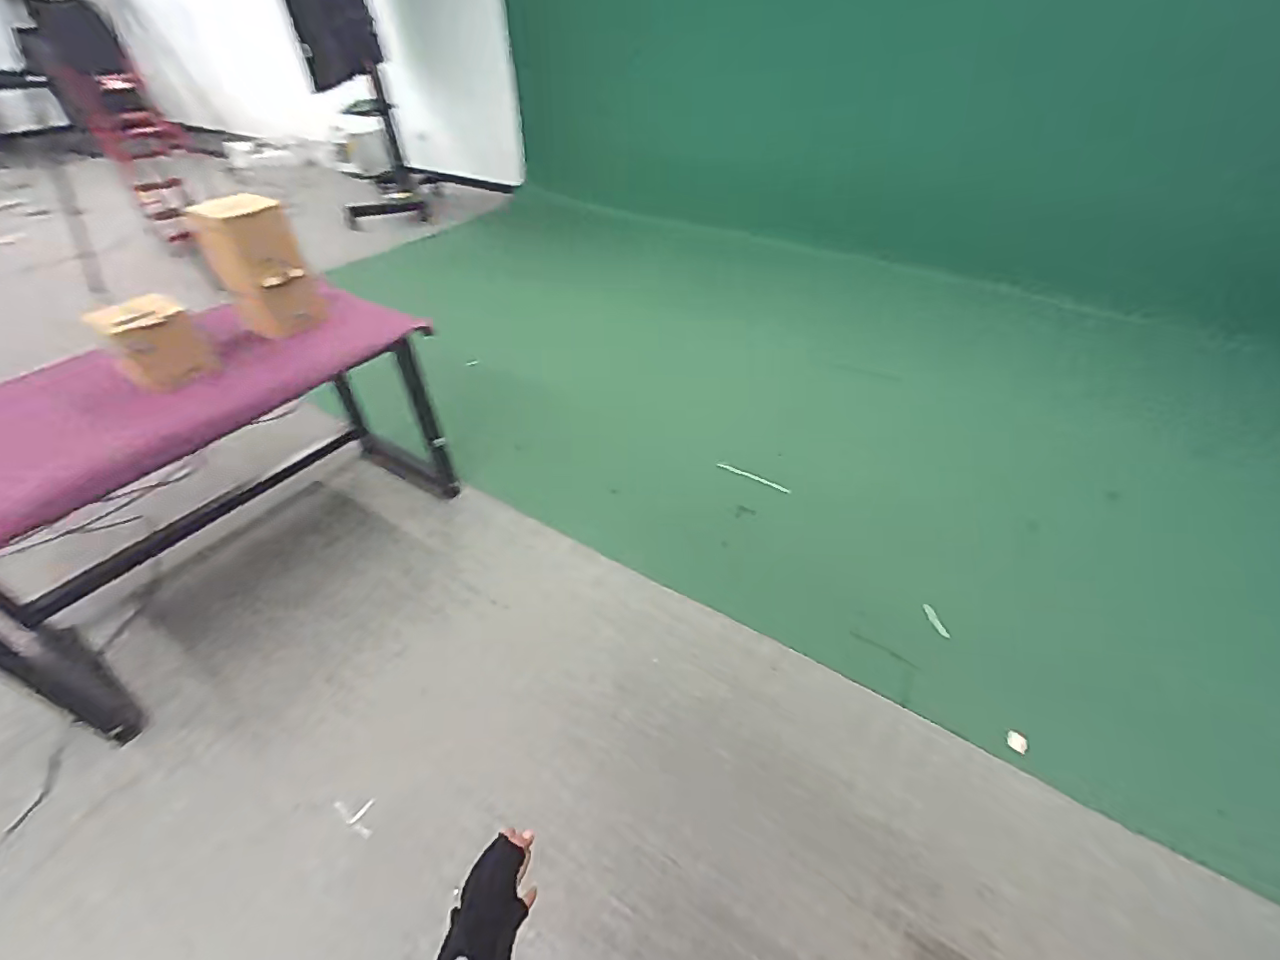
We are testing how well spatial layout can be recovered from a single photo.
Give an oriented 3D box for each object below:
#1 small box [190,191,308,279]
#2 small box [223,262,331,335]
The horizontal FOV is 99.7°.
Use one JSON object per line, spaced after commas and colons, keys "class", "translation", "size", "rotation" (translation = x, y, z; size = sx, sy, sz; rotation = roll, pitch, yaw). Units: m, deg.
{"class": "small box", "translation": [-1.056, -0.665, 1.470], "size": [0.179, 0.176, 0.168], "rotation": [23, 48, 22]}
{"class": "small box", "translation": [-1.052, -0.543, 1.578], "size": [0.179, 0.176, 0.168], "rotation": [23, 49, 23]}
